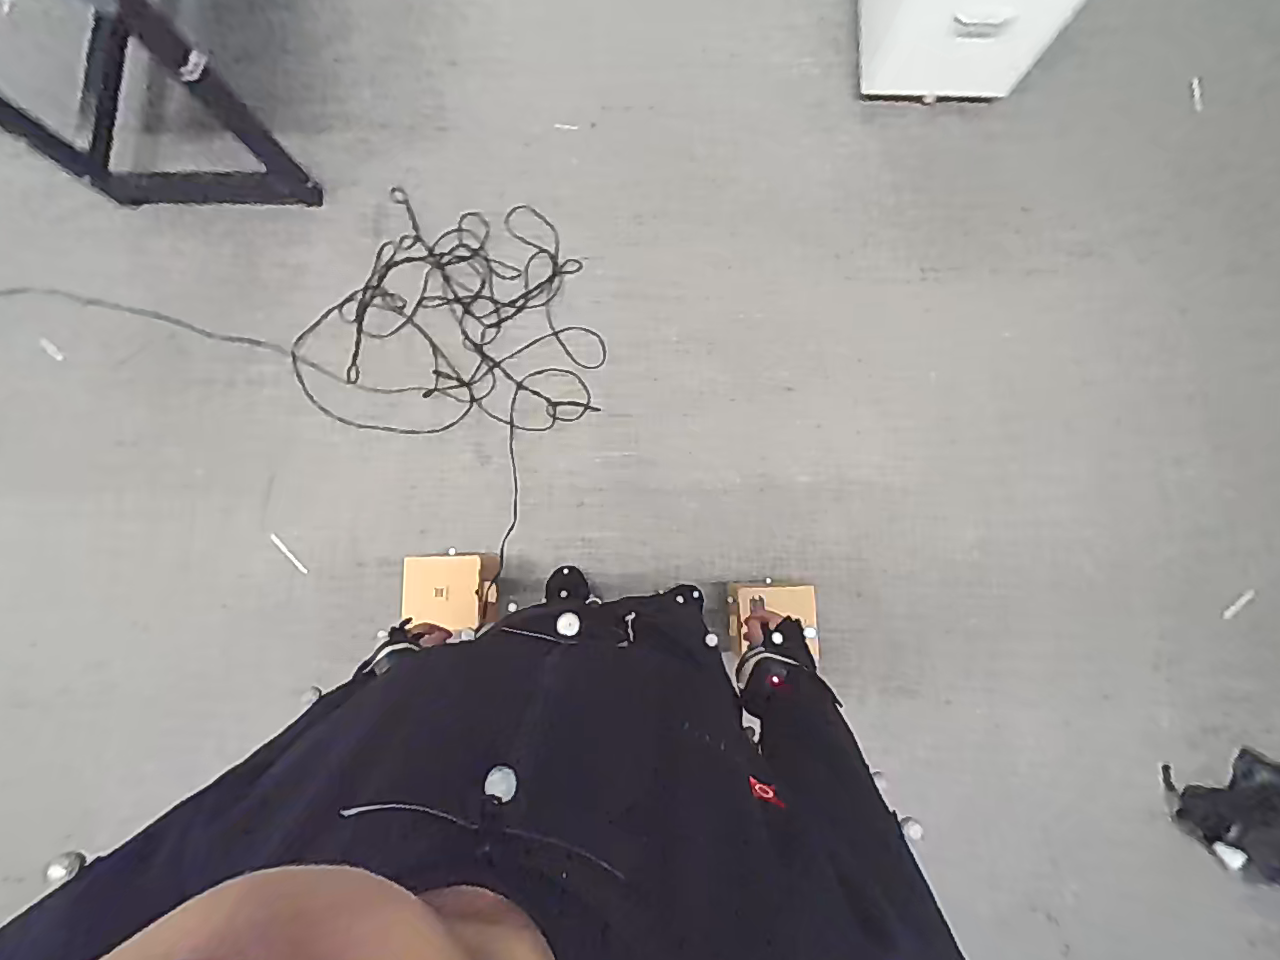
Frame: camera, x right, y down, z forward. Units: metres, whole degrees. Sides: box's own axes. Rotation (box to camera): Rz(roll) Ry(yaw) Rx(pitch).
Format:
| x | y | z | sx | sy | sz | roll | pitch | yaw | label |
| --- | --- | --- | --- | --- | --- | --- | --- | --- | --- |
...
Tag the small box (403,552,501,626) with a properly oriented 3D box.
| x | y | z | sx | sy | sz | roll | pitch | yaw | label |
| --- | --- | --- | --- | --- | --- | --- | --- | --- | --- |
| -0.446 | 0.258 | 1.299 | 0.179 | 0.176 | 0.168 | -1 | 83 | -1 | small box |
